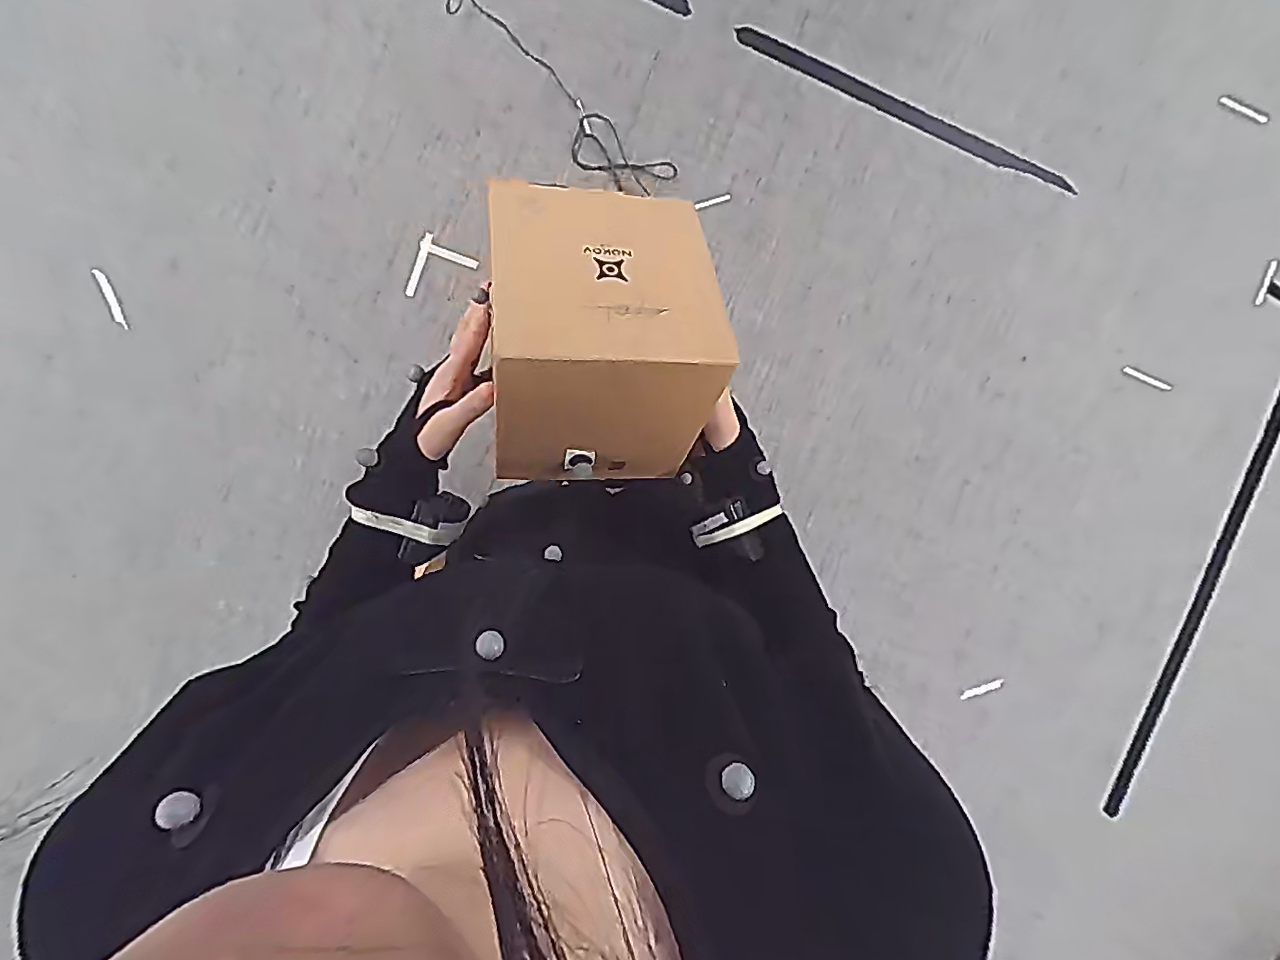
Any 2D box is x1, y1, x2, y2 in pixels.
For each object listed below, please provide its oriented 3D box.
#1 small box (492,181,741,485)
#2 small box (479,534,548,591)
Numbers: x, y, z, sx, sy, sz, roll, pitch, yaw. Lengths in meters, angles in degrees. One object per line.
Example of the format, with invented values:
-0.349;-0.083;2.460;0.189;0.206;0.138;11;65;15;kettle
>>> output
-0.038;-0.111;0.456;0.168;0.176;0.179;-2;62;-16;small box
-0.349;0.257;1.402;0.168;0.176;0.179;25;90;-5;small box
